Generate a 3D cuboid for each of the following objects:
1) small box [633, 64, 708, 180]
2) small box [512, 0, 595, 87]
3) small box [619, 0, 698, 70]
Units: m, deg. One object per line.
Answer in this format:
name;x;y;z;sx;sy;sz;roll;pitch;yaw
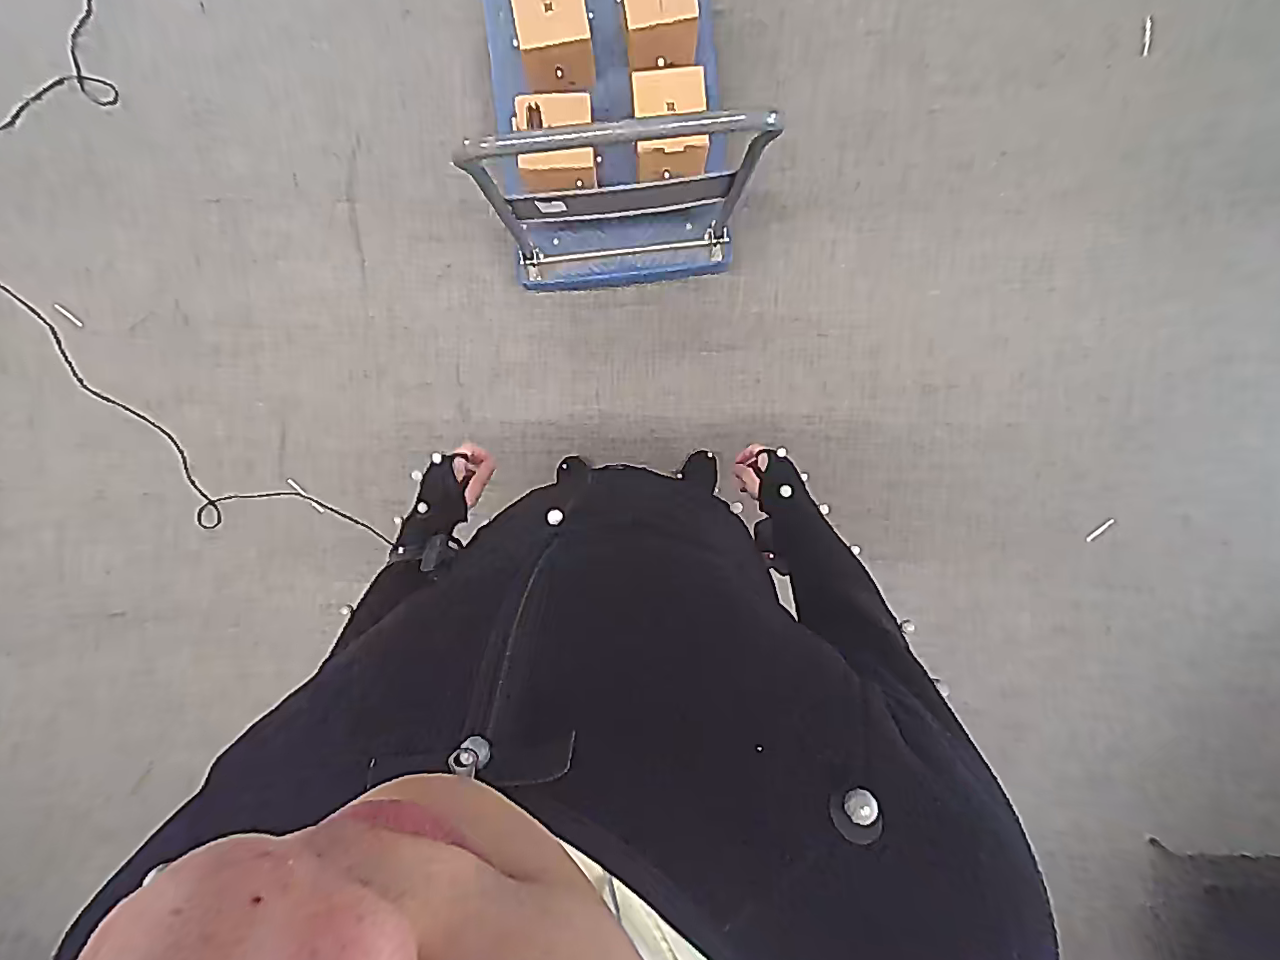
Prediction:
small box;0.070;-0.869;1.326;0.168;0.176;0.179;-5;95;1
small box;-0.208;-1.092;1.311;0.168;0.176;0.179;-10;94;0
small box;0.040;-1.137;1.304;0.168;0.176;0.179;-10;95;2
